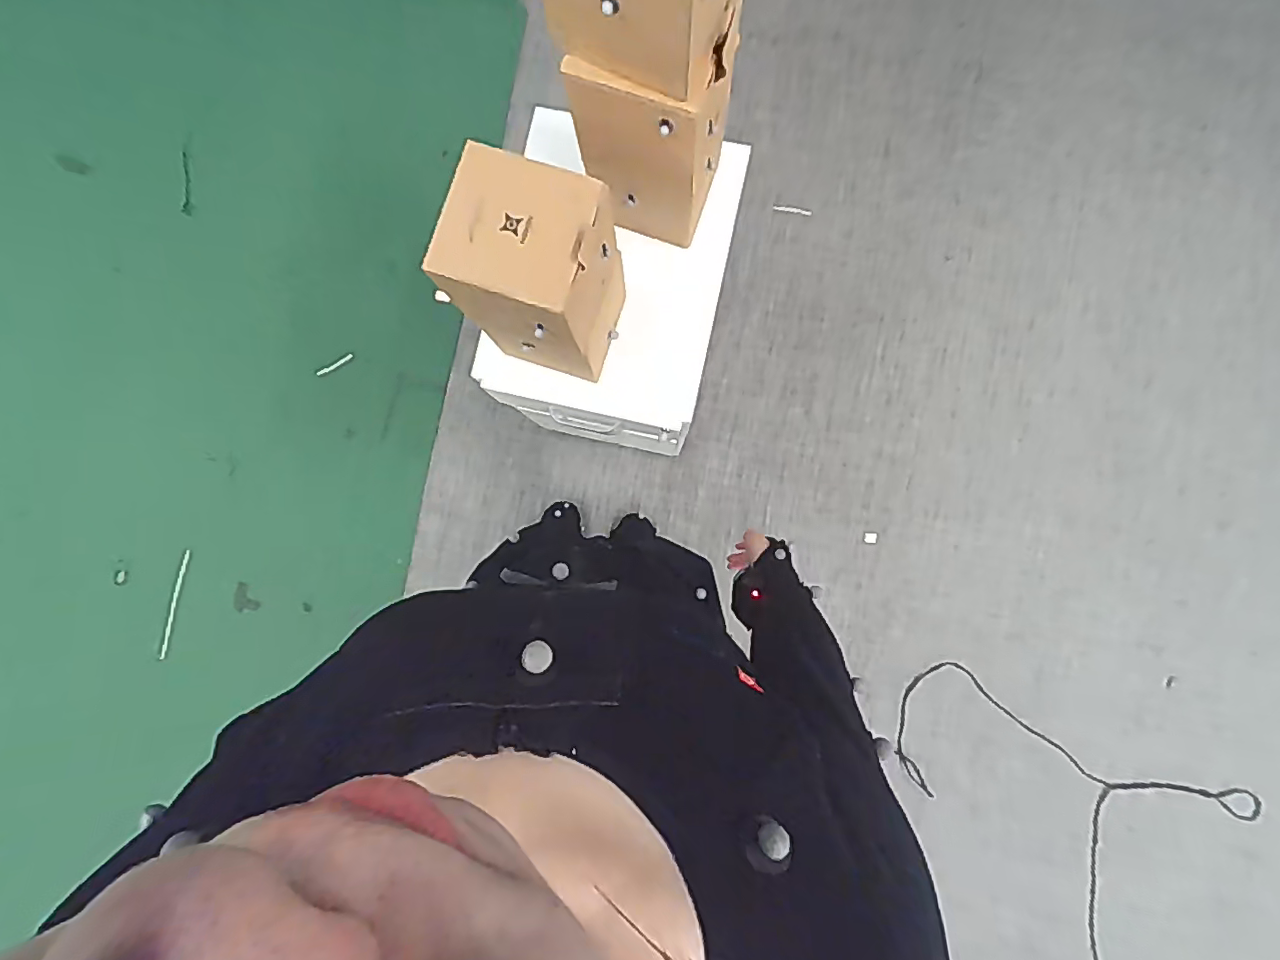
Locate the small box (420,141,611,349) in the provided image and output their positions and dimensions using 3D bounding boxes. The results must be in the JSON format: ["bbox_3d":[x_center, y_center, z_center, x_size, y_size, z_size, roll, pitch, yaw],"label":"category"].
[{"bbox_3d":[-0.144,-0.287,0.700,0.179,0.176,0.168,18,85,3],"label":"small box"}]

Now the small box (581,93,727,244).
[{"bbox_3d":[0.024,-0.513,0.873,0.179,0.176,0.168,19,88,3],"label":"small box"}]

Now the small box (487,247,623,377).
[{"bbox_3d":[-0.136,-0.279,0.862,0.179,0.176,0.168,18,87,1],"label":"small box"}]

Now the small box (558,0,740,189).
[{"bbox_3d":[0.013,-0.520,0.711,0.179,0.176,0.168,19,88,2],"label":"small box"}]
